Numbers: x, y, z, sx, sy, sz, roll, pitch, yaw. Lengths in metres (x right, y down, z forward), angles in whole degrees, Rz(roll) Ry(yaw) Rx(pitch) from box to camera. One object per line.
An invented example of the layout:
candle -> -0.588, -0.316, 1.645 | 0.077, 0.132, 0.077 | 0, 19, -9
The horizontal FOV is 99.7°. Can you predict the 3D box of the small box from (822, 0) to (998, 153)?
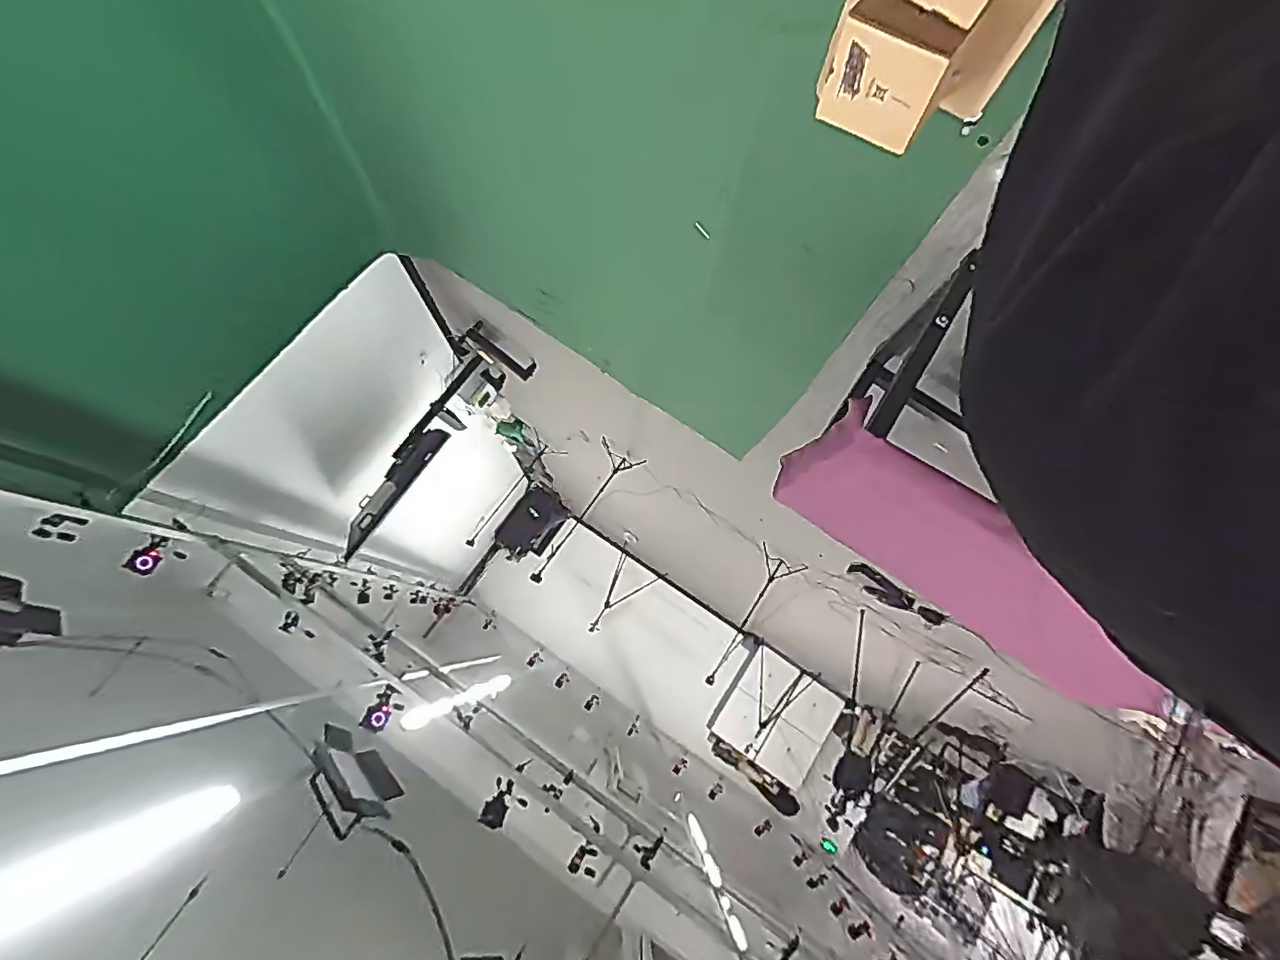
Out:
small box -> 0.446, -0.708, 0.909 | 0.179, 0.176, 0.168 | 33, 165, 11
